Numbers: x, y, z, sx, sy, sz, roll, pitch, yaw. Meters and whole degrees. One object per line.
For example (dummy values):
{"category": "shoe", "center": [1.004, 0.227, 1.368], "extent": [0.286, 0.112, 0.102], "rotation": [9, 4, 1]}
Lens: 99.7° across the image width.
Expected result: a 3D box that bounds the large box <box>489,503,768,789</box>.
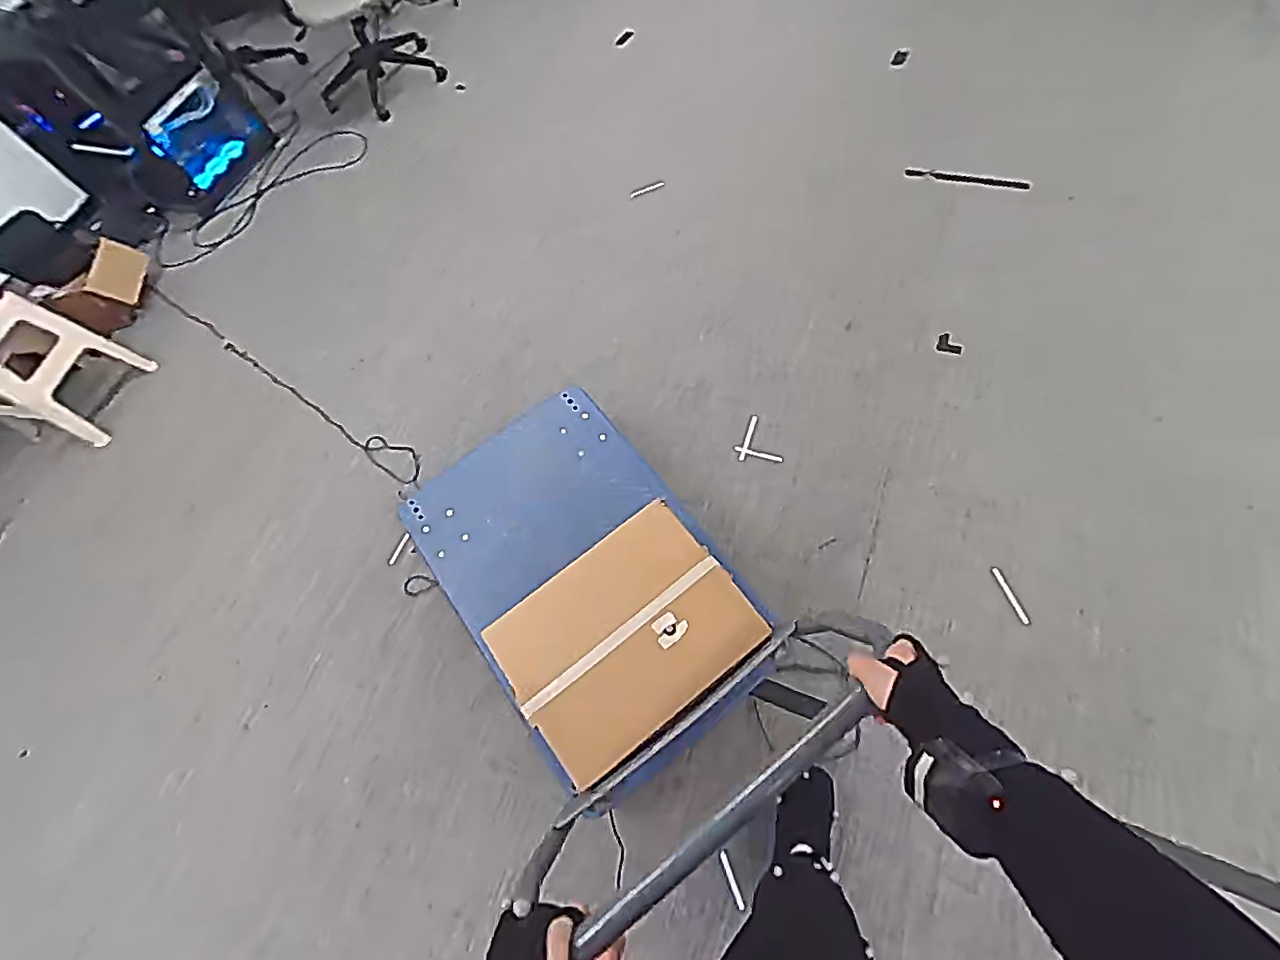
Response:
{"category": "large box", "center": [-0.013, 0.324, 1.076], "extent": [0.408, 0.320, 0.320], "rotation": [-37, 71, -10]}
